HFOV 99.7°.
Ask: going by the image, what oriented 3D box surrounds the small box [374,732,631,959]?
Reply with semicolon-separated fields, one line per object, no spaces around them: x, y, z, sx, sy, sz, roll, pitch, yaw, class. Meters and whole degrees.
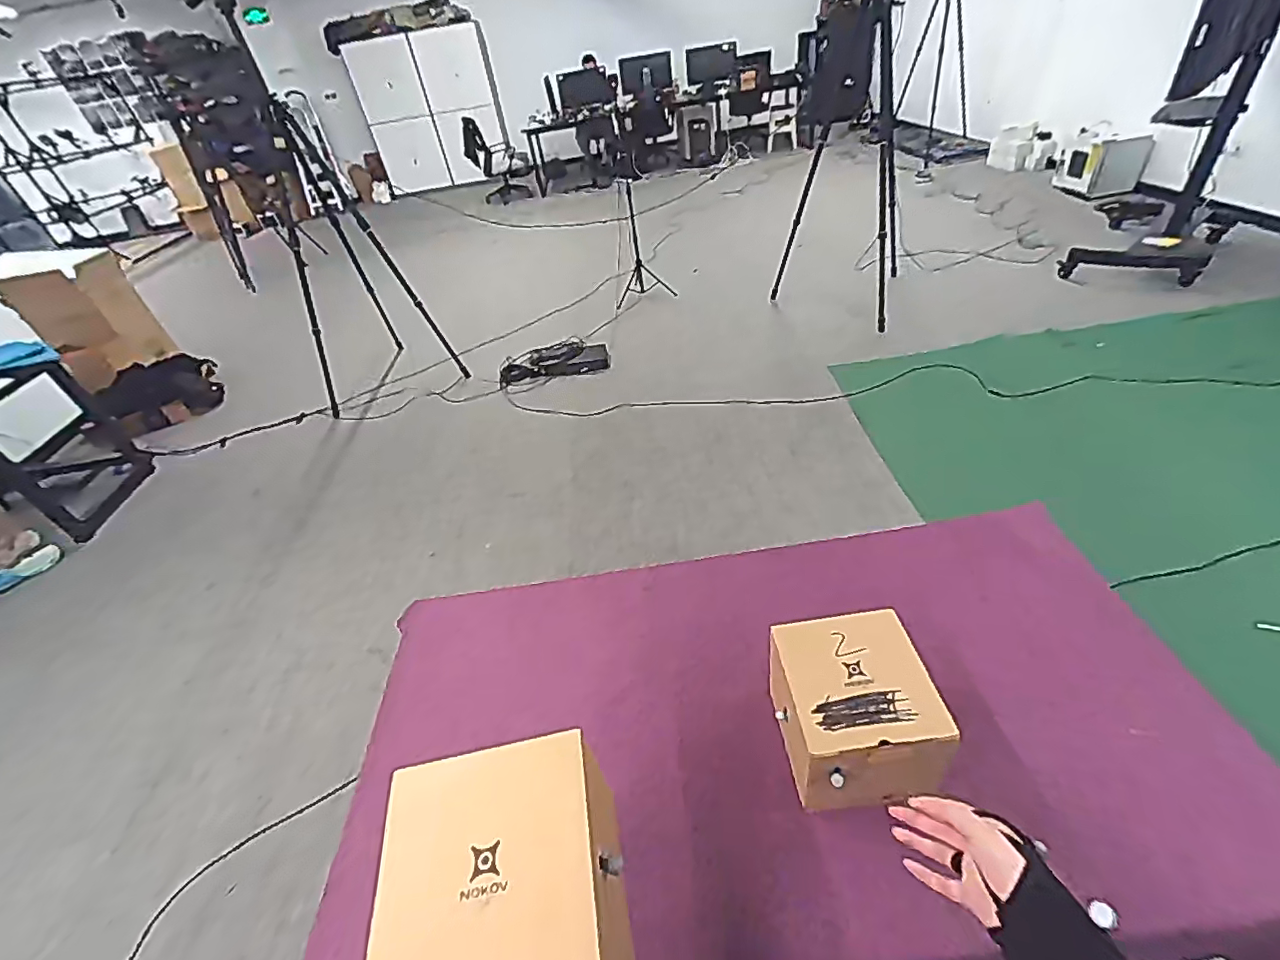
-0.108;0.356;0.477;0.168;0.176;0.179;-12;45;-2;small box
